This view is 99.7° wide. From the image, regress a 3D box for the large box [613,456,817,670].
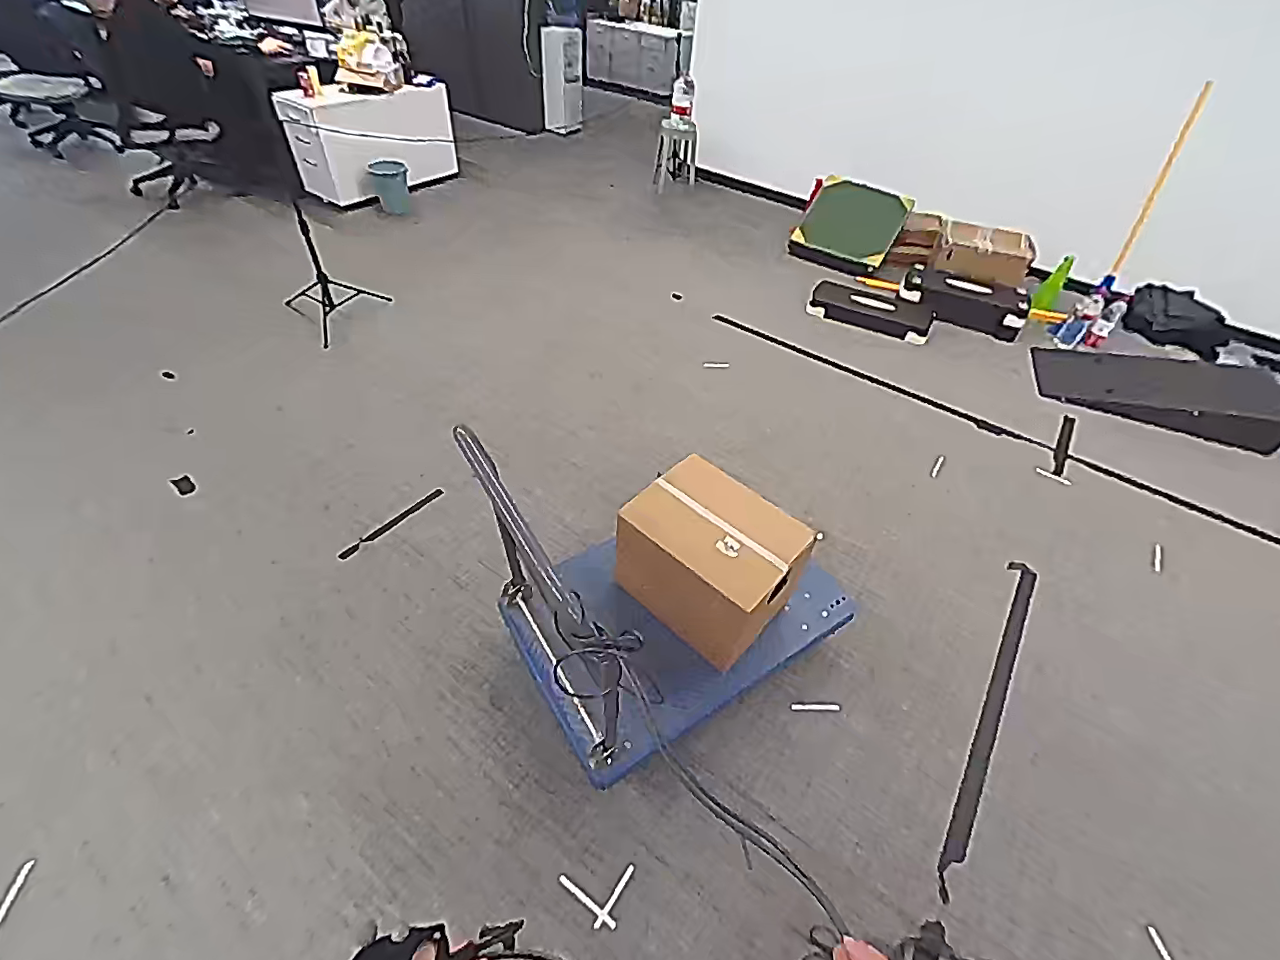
[{"bbox_3d":[0.178,0.212,1.437,0.408,0.320,0.320,36,54,25],"label":"large box"}]
